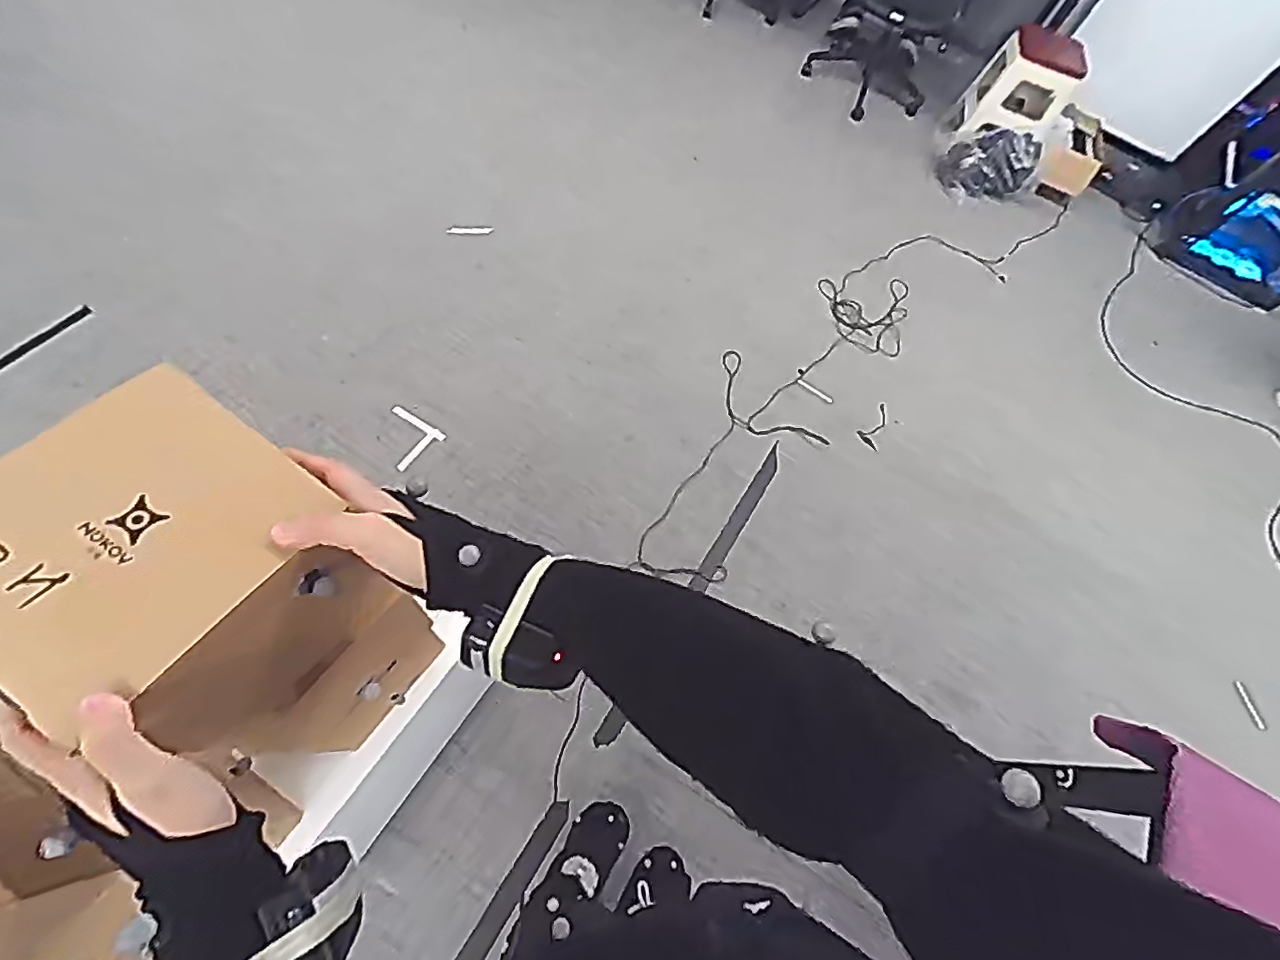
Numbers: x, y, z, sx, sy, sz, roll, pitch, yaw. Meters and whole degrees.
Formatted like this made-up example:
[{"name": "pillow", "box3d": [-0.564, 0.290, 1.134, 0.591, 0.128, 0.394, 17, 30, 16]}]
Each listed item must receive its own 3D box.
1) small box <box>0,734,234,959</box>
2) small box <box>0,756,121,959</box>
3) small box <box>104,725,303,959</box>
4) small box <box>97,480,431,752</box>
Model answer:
[{"name": "small box", "box3d": [-0.474, 0.313, 0.416, 0.179, 0.176, 0.168, 32, 63, 6]}, {"name": "small box", "box3d": [-0.448, 0.242, 0.272, 0.179, 0.176, 0.168, 32, 64, 5]}, {"name": "small box", "box3d": [-0.503, 0.382, 0.559, 0.179, 0.176, 0.168, 33, 64, 7]}, {"name": "small box", "box3d": [-0.334, 0.138, 0.525, 0.179, 0.176, 0.168, 36, 64, 5]}]
